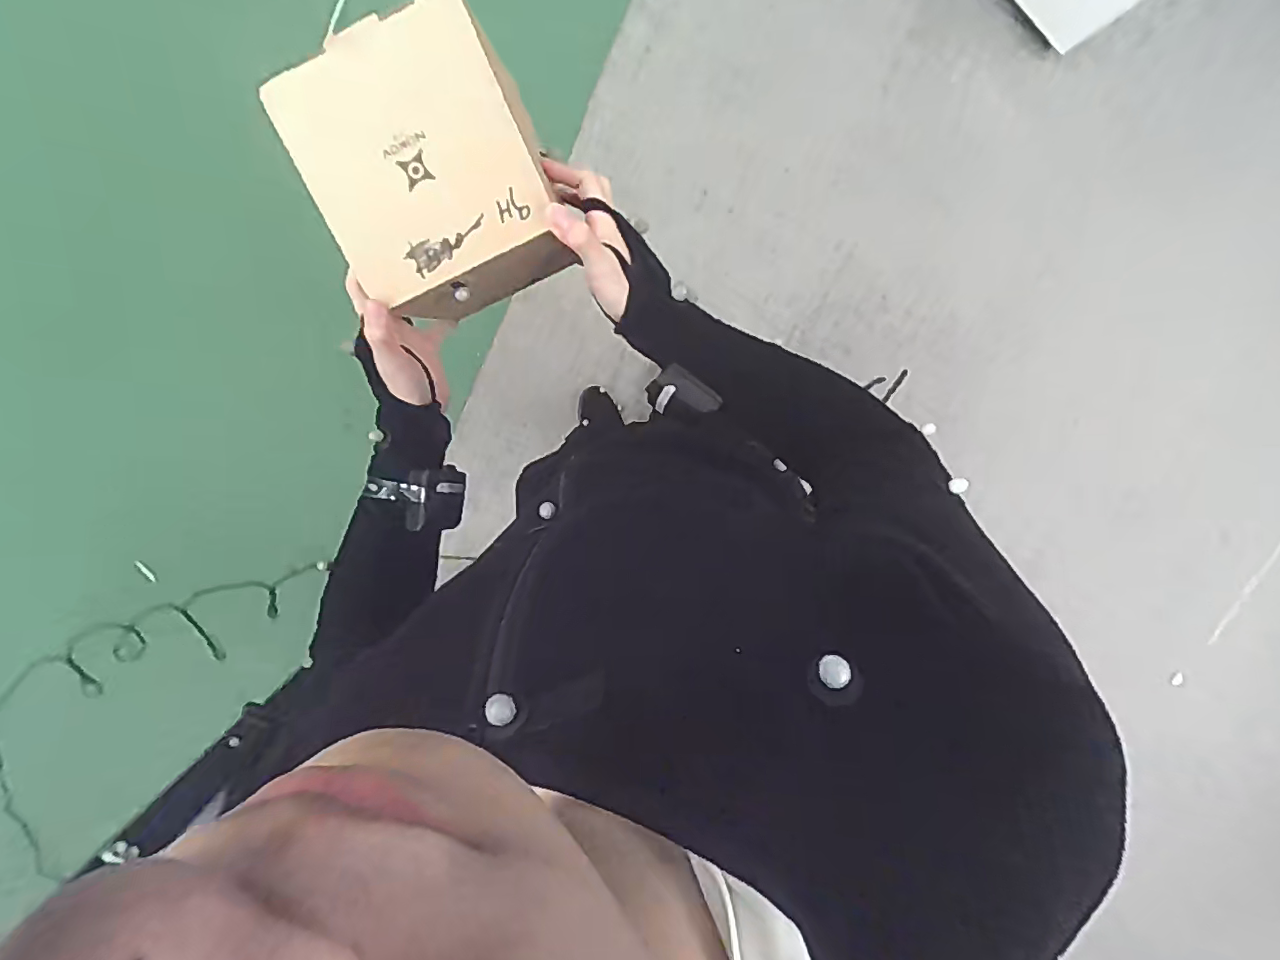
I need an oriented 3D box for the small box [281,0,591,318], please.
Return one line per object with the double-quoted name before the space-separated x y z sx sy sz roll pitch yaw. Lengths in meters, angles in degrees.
"small box" -0.157 -0.261 0.483 0.168 0.176 0.179 -22 102 7
